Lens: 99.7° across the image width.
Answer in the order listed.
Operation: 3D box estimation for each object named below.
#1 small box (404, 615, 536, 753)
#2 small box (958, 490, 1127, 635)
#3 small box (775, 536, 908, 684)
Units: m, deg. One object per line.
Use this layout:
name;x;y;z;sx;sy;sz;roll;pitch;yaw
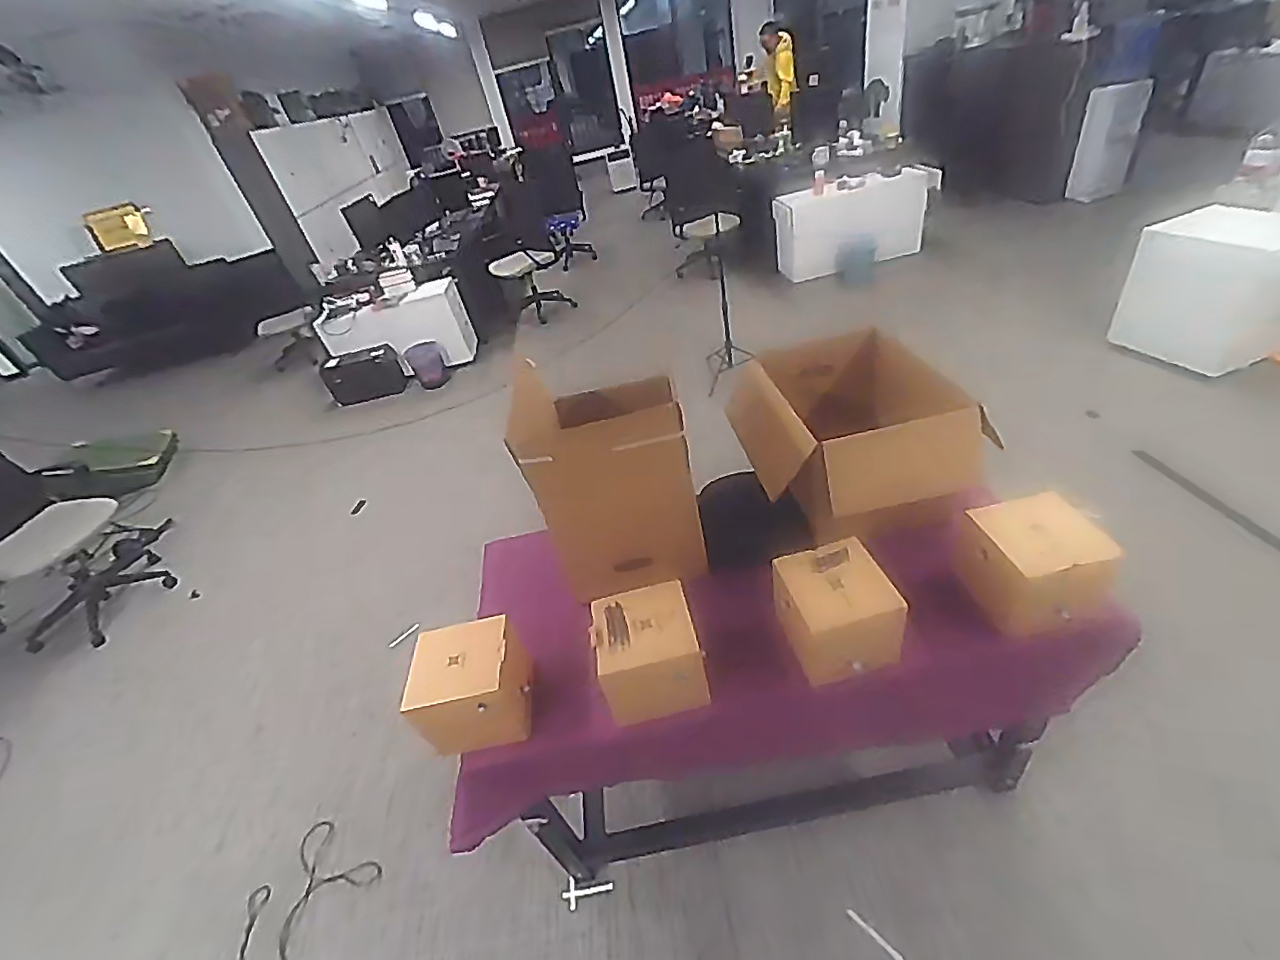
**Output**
small box;-0.309;0.387;1.020;0.179;0.176;0.168;-13;37;1
small box;0.707;0.149;0.978;0.168;0.176;0.179;-14;37;3
small box;0.358;0.236;0.988;0.168;0.176;0.179;-16;38;-1
